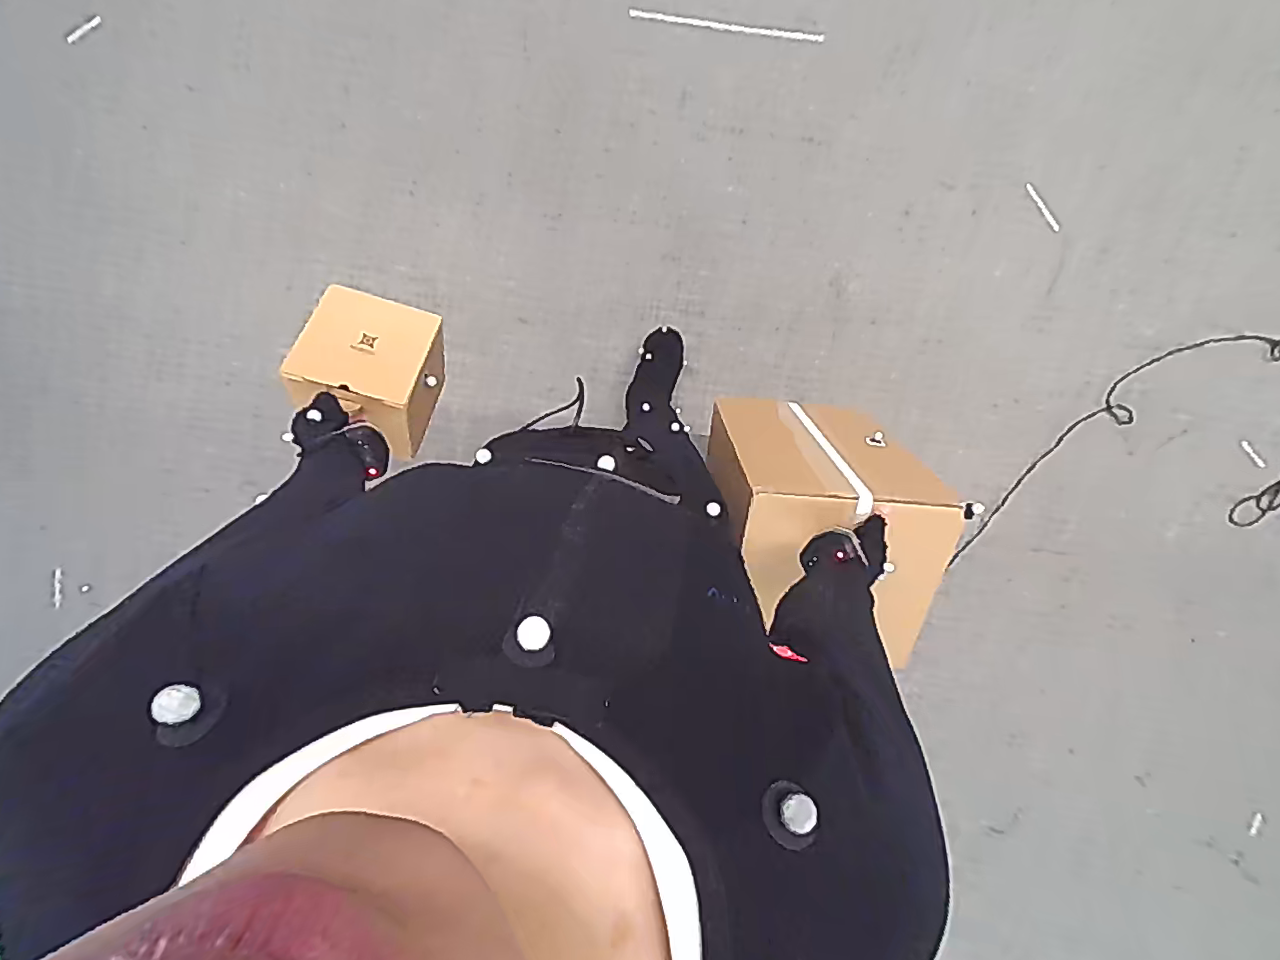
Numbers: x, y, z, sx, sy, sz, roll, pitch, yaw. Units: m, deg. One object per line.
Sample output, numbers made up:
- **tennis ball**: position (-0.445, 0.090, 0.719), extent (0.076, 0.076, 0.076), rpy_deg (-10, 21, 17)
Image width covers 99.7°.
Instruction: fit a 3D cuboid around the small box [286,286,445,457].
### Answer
- **small box**: position (-0.418, -0.164, 0.855), extent (0.168, 0.176, 0.179), rpy_deg (14, 61, -11)
